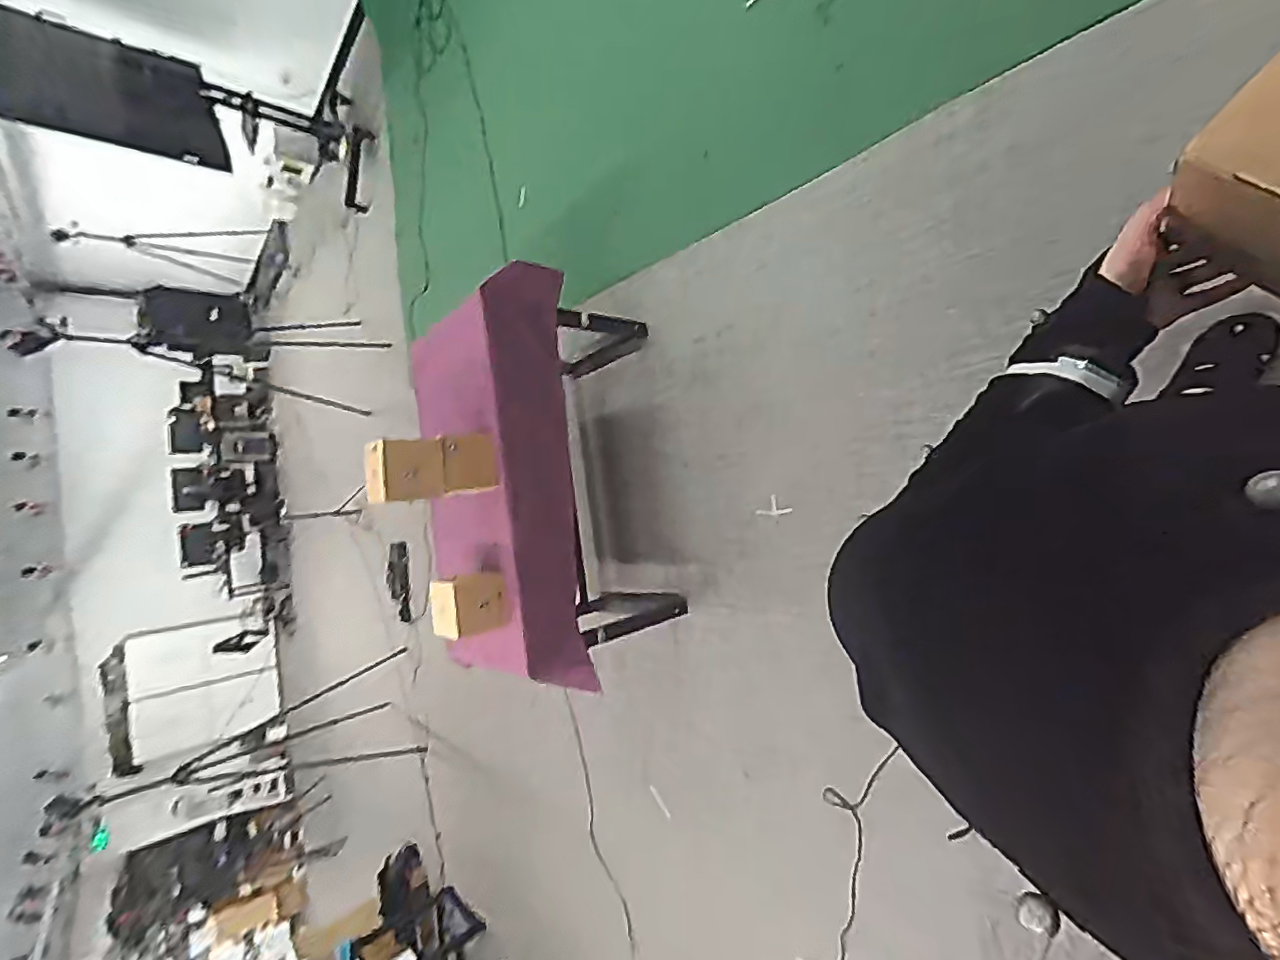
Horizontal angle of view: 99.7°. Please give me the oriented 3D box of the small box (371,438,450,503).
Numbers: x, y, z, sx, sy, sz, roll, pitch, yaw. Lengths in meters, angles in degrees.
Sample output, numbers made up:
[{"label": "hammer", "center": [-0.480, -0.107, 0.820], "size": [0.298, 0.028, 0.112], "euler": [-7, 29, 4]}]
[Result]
[{"label": "small box", "center": [-0.665, -0.029, 1.572], "size": [0.168, 0.176, 0.179], "euler": [-2, 92, 48]}]

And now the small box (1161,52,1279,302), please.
[{"label": "small box", "center": [0.466, -0.197, 0.315], "size": [0.168, 0.176, 0.179], "euler": [53, 123, 28]}]

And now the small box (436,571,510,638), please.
[{"label": "small box", "center": [-0.517, 0.381, 1.690], "size": [0.179, 0.176, 0.168], "euler": [-7, 88, 48]}]

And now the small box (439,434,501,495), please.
[{"label": "small box", "center": [-0.546, -0.046, 1.685], "size": [0.168, 0.176, 0.179], "euler": [-9, 86, 48]}]
